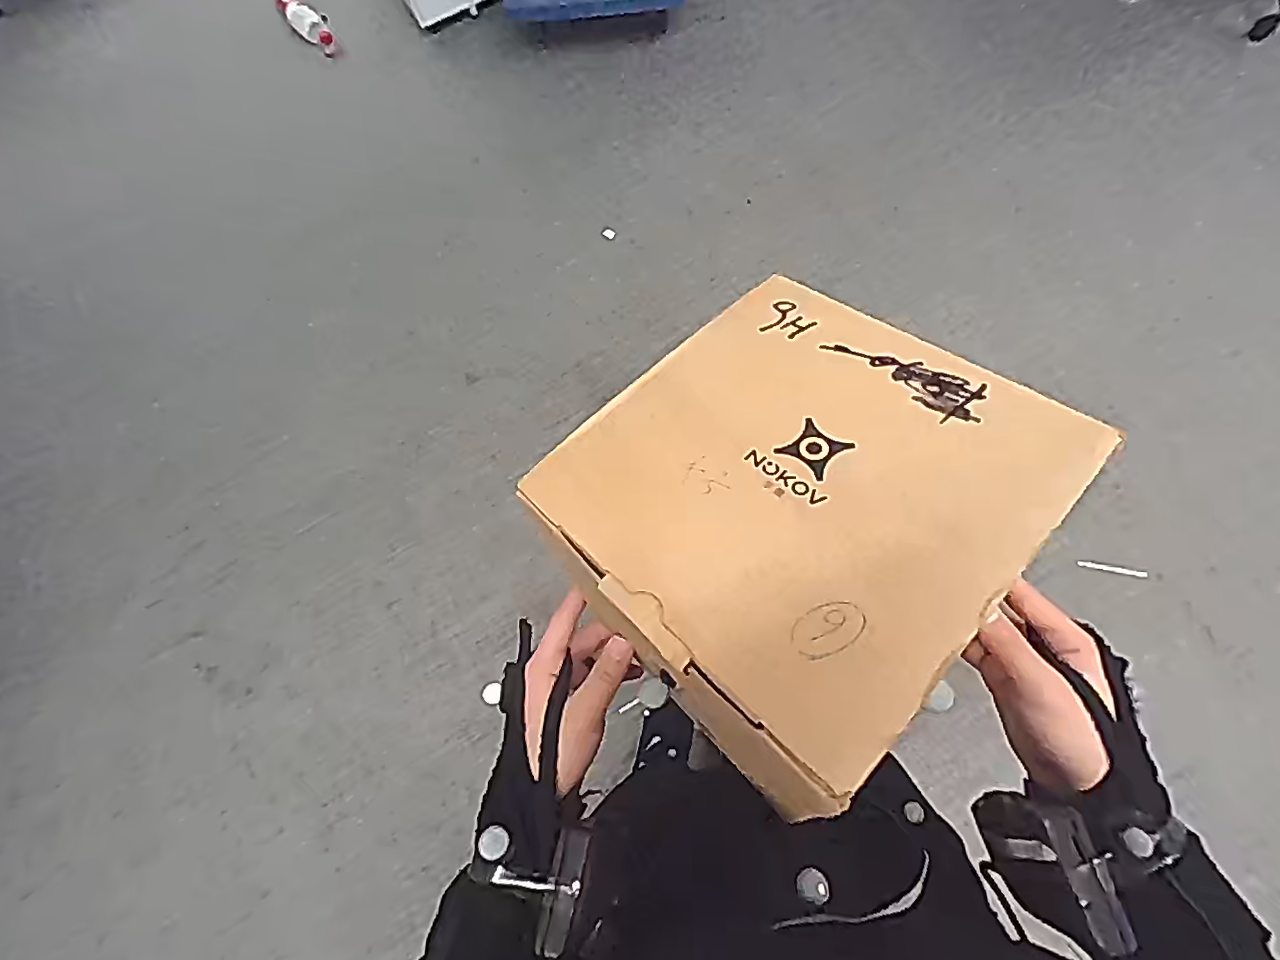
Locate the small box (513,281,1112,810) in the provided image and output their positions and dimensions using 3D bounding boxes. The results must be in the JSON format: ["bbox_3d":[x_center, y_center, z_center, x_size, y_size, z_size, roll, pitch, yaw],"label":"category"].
[{"bbox_3d":[0.073,0.040,0.281,0.179,0.176,0.168,-41,59,-15],"label":"small box"}]
